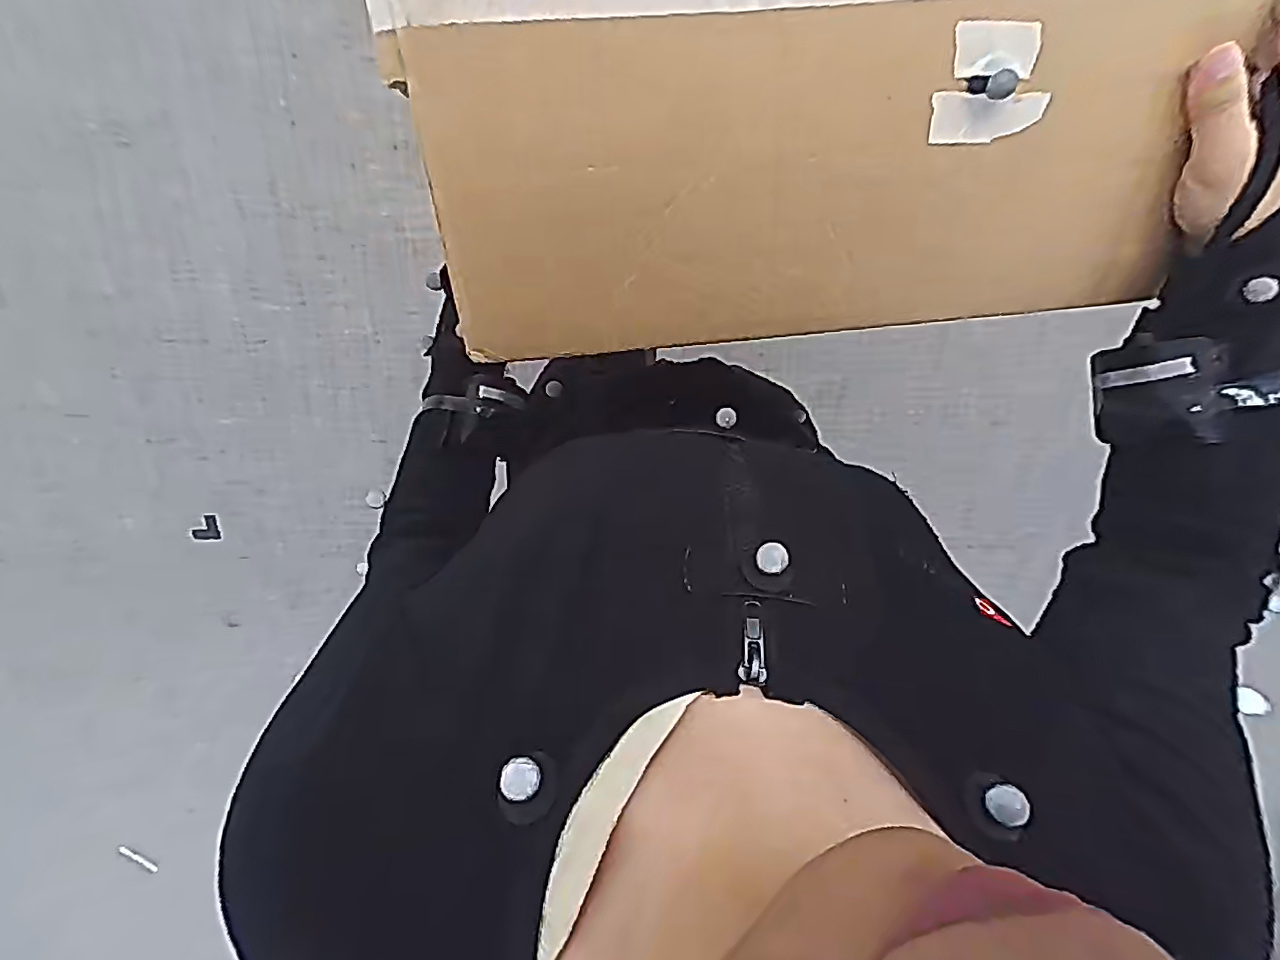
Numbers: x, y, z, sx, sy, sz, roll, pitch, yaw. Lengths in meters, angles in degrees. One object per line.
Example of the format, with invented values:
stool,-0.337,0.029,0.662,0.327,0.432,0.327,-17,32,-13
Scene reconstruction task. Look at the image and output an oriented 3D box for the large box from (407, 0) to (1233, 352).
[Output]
large box,0.074,-0.301,0.374,0.408,0.320,0.320,-7,120,-5
